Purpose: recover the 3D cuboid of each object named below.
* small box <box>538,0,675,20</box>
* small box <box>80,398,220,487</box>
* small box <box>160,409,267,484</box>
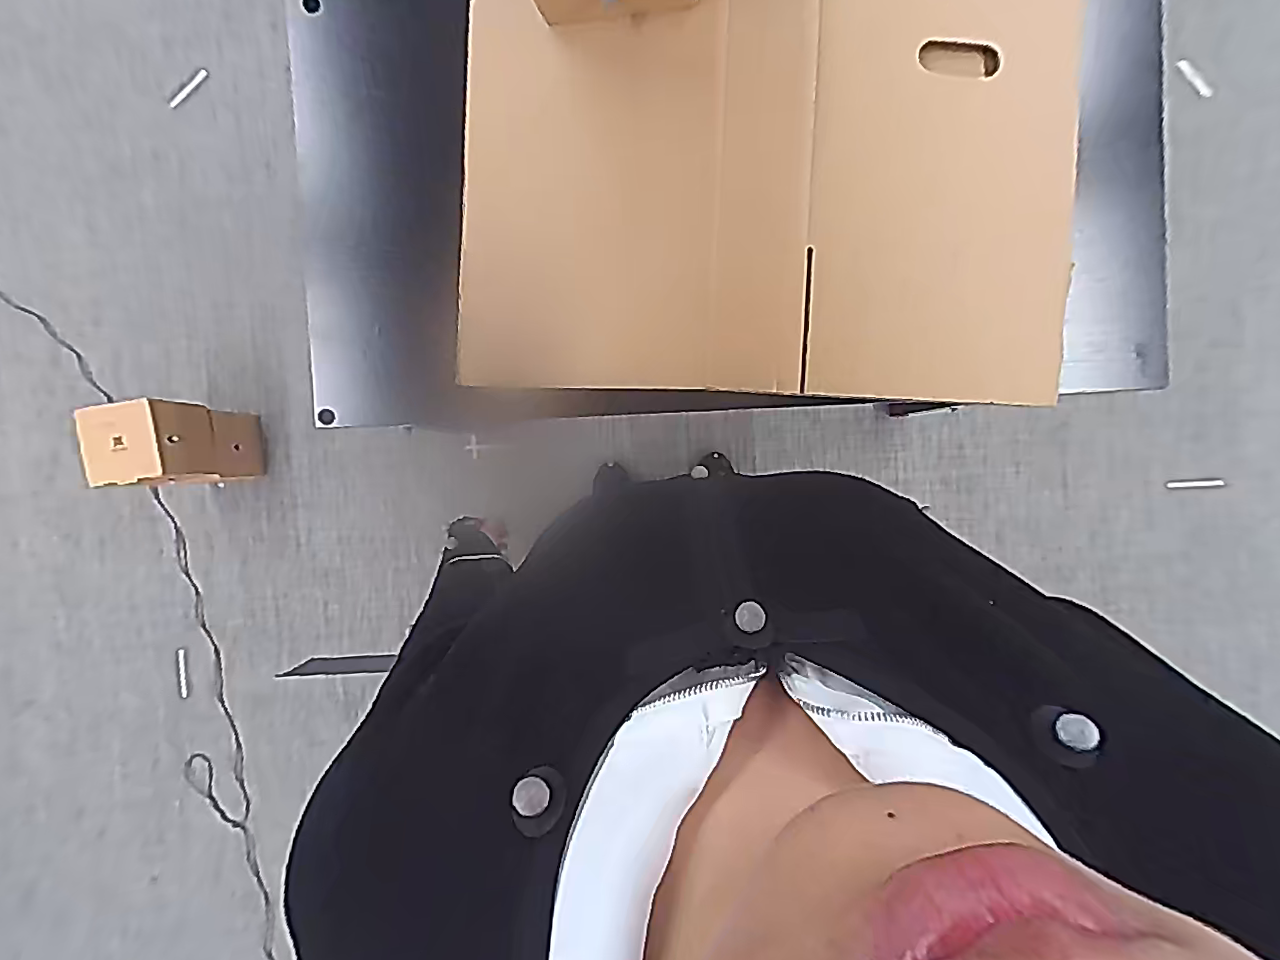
[{"bbox_3d":[-0.035,-0.591,0.514,0.179,0.176,0.168,4,92,13],"label":"small box"},{"bbox_3d":[-1.129,-0.085,1.261,0.168,0.176,0.179,-9,91,0],"label":"small box"},{"bbox_3d":[-1.127,-0.085,1.424,0.168,0.176,0.179,-7,93,1],"label":"small box"}]
